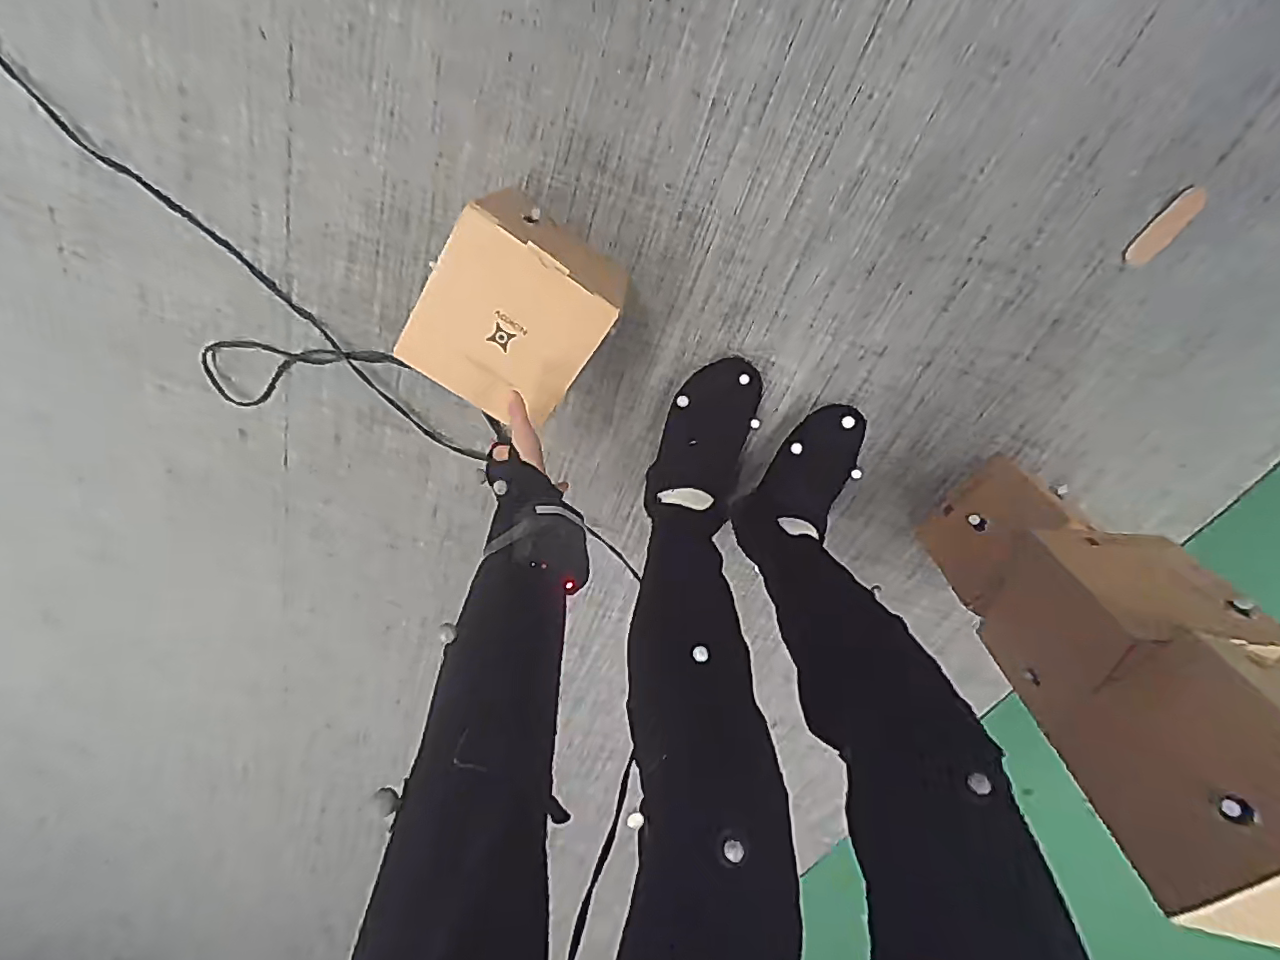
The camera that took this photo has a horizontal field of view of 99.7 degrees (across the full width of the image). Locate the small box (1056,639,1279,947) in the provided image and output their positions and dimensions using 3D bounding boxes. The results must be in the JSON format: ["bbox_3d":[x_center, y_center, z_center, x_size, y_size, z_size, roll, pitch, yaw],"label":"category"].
[{"bbox_3d":[0.532,0.270,0.475,0.168,0.176,0.179,21,122,-11],"label":"small box"}]

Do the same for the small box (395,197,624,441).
[{"bbox_3d":[-0.130,-0.183,0.597,0.168,0.176,0.179,33,117,-17],"label":"small box"}]

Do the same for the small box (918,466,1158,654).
[{"bbox_3d":[0.535,0.103,0.759,0.179,0.176,0.168,28,119,-15],"label":"small box"}]
